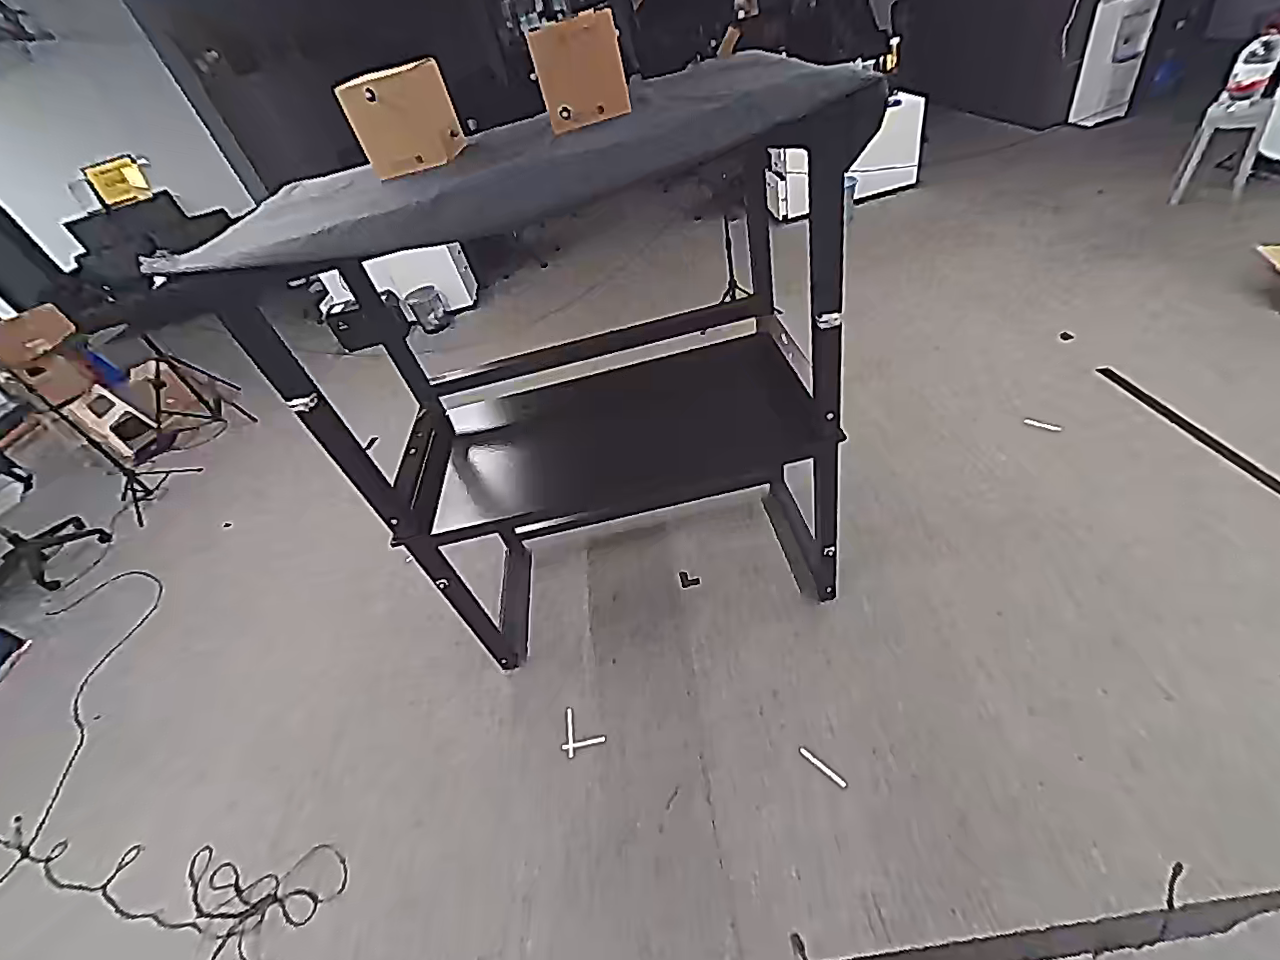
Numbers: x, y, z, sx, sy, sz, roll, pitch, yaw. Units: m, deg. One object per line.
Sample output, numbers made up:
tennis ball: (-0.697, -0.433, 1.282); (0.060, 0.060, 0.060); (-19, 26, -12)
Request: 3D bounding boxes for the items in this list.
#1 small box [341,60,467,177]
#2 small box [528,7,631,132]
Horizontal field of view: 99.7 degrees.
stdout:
small box: (-0.490, -0.771, 1.156); (0.168, 0.176, 0.179); (-10, 42, 7)
small box: (-0.121, -0.836, 1.109); (0.168, 0.176, 0.179); (-15, 41, 2)
